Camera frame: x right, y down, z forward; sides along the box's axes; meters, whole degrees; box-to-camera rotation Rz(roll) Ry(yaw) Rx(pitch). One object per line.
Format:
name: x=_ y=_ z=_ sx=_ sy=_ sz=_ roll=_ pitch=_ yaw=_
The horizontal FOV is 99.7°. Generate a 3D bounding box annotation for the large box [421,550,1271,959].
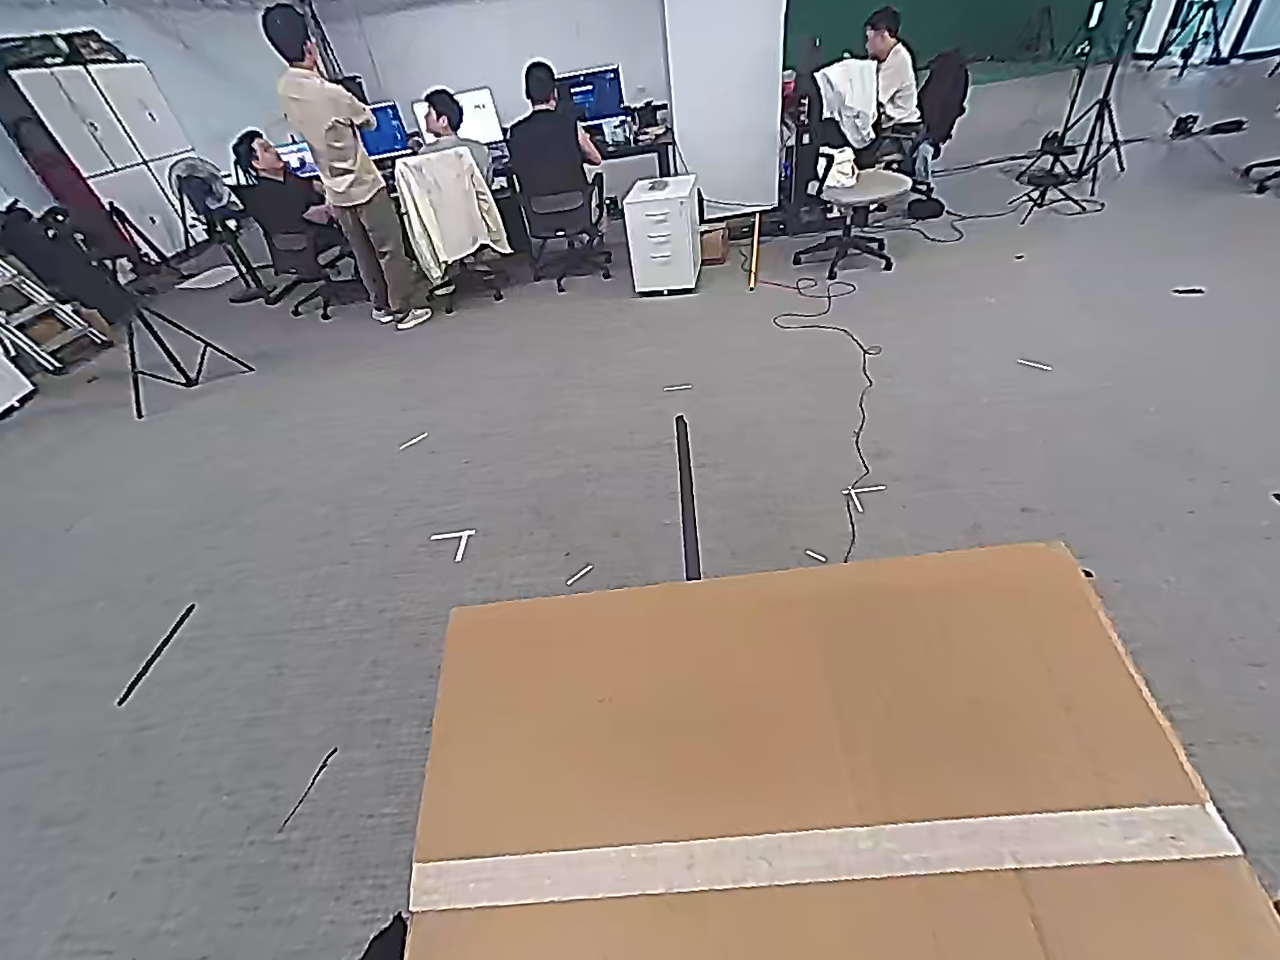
large box: x=0.100 y=0.282 z=0.405 sx=0.408 sy=0.320 sz=0.320 roll=-8 pitch=56 yaw=5
